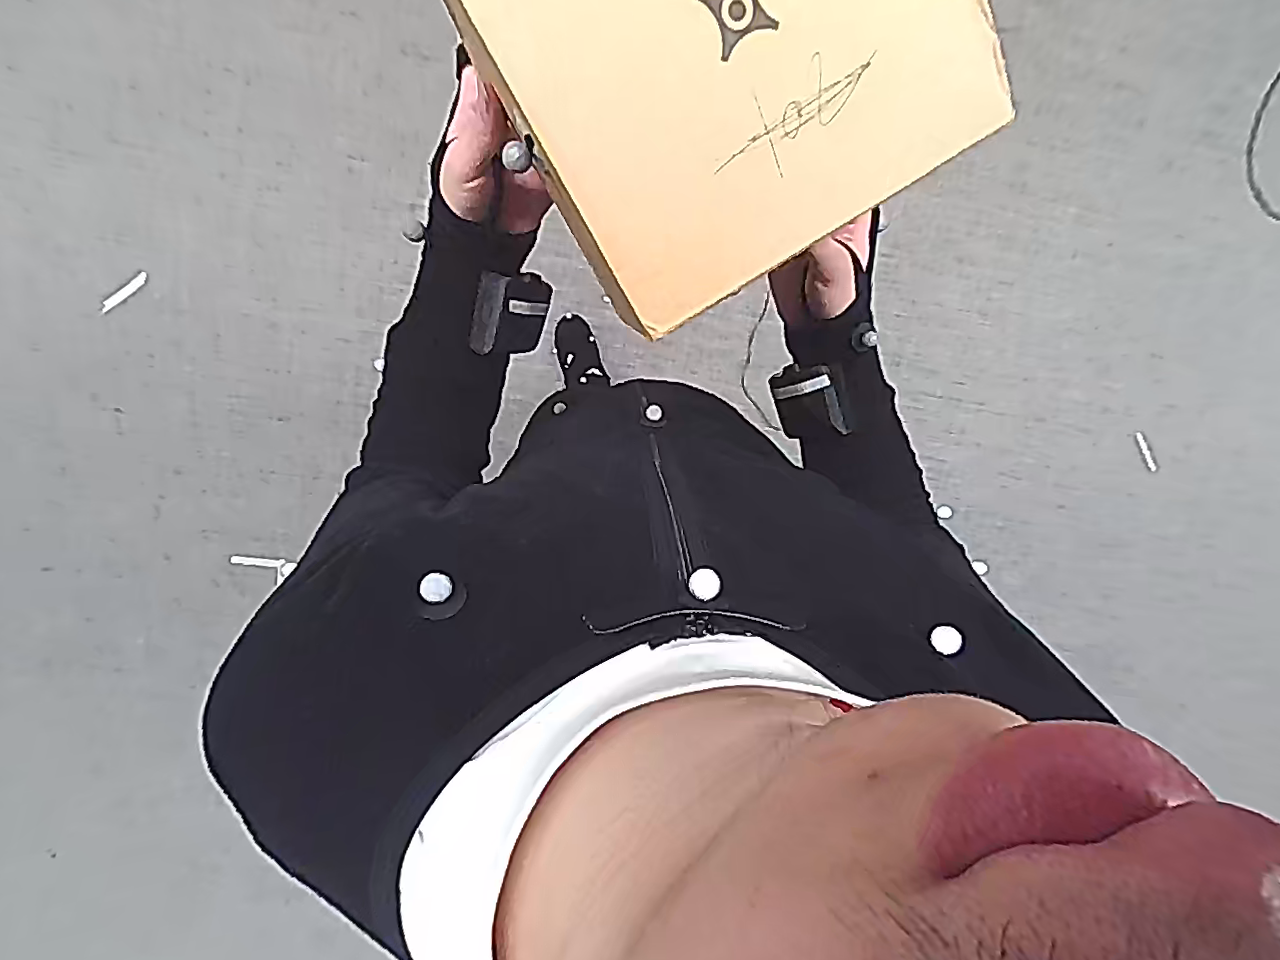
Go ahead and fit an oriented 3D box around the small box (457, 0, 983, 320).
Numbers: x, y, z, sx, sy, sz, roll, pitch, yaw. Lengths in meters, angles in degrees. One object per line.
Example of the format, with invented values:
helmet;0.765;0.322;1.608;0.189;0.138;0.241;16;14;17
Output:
small box;0.021;-0.201;0.274;0.168;0.176;0.179;-30;111;5
